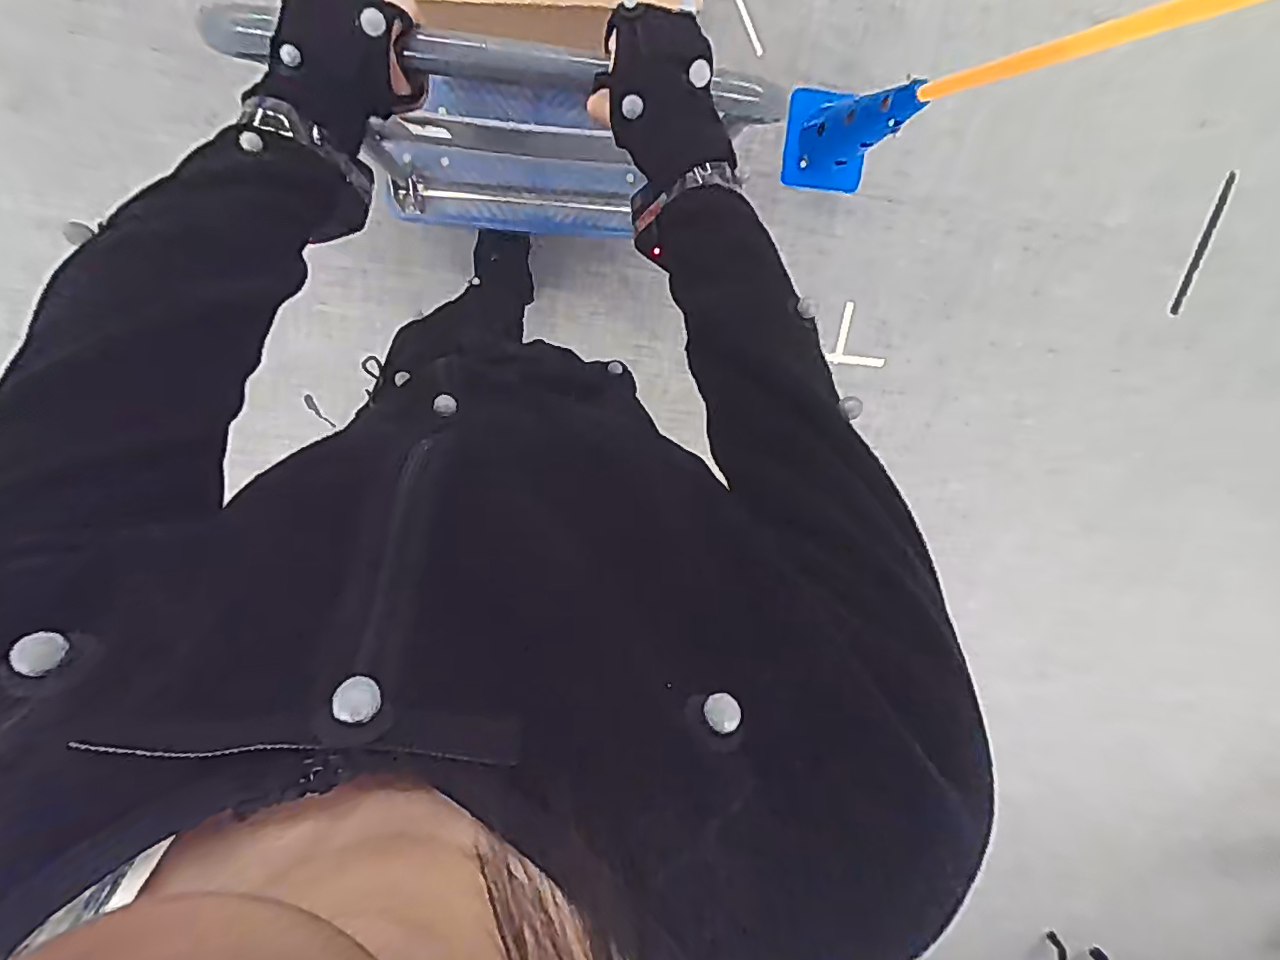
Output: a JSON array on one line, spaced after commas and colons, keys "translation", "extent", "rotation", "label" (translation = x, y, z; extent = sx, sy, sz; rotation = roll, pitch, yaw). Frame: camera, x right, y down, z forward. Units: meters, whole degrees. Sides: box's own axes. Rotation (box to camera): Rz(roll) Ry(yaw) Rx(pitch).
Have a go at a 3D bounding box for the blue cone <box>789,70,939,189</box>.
[{"translation": [0.470, -0.737, 1.106], "extent": [0.193, 0.380, 0.192], "rotation": [2, 109, -10], "label": "blue cone"}]
